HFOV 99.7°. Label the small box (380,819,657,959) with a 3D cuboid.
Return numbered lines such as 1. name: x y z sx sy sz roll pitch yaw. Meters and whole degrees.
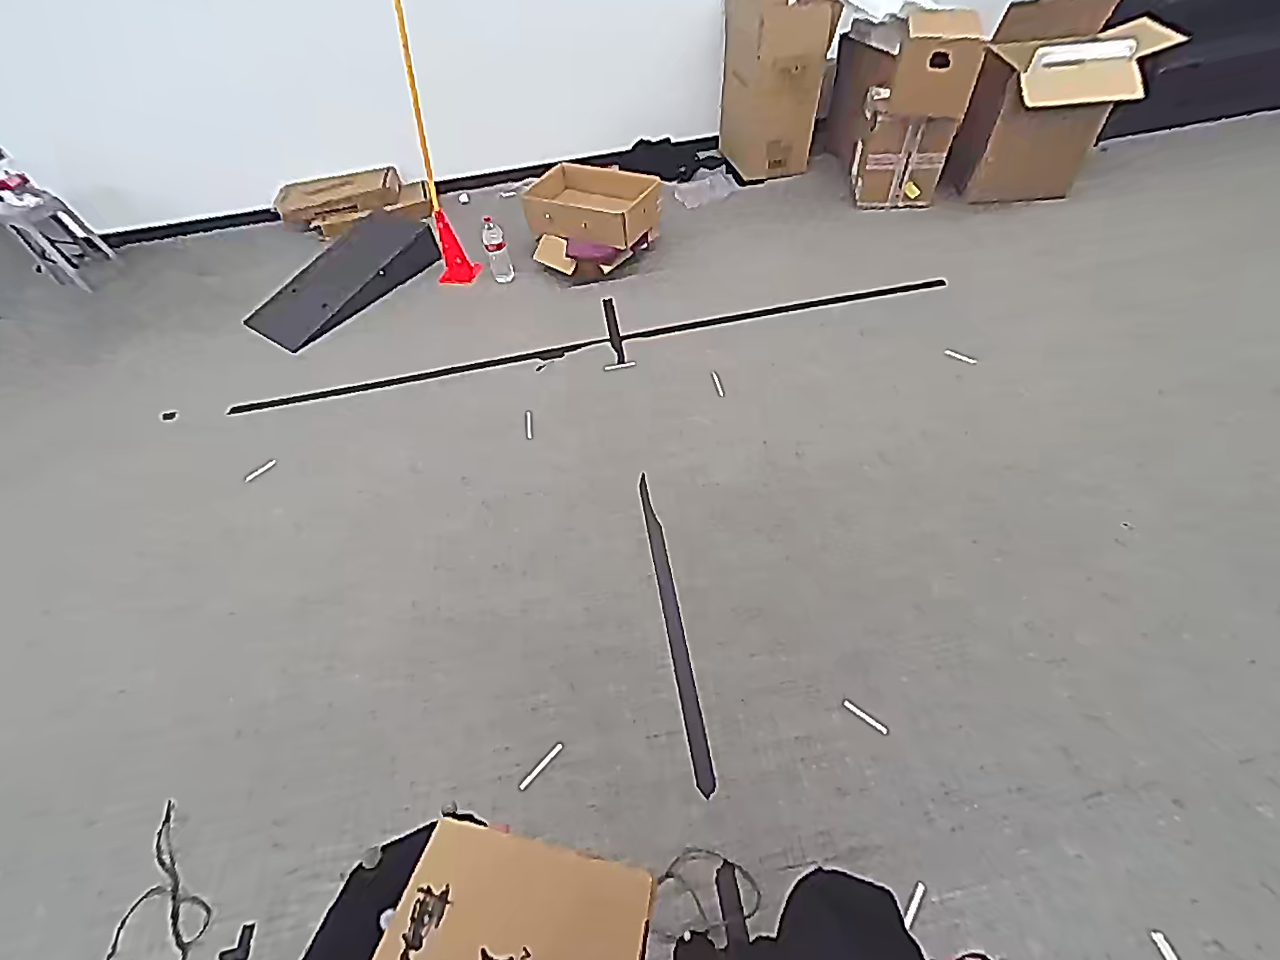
1. small box: -0.095 0.395 0.400 0.179 0.176 0.168 11 34 6
